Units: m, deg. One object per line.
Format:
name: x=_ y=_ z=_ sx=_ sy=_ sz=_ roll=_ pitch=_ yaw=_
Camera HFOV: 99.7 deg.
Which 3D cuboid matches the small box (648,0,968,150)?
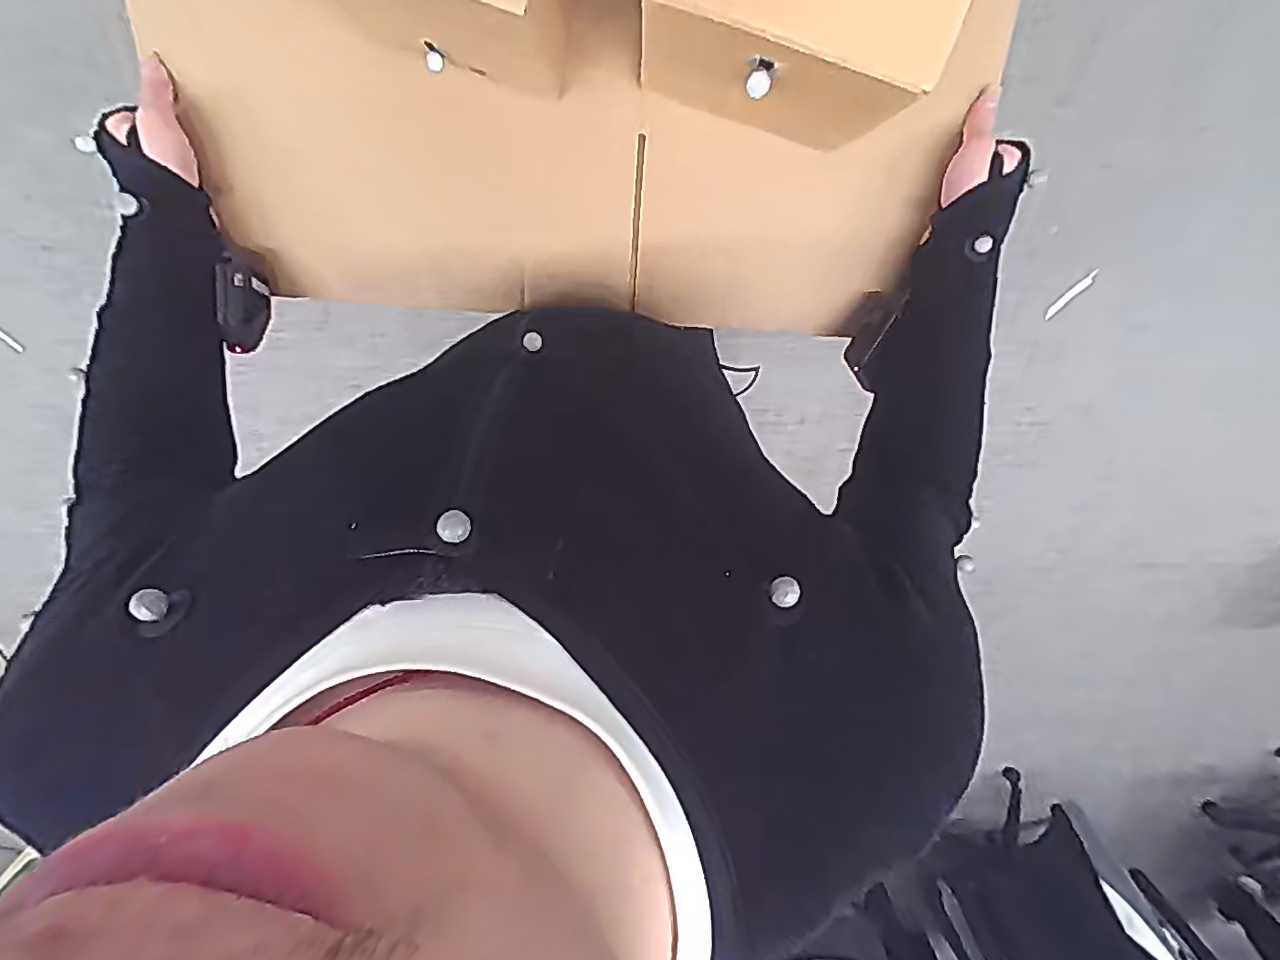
small box: x=0.111 y=-0.347 z=0.364 sx=0.179 sy=0.176 sz=0.168 roll=16 pitch=110 yaw=-5
